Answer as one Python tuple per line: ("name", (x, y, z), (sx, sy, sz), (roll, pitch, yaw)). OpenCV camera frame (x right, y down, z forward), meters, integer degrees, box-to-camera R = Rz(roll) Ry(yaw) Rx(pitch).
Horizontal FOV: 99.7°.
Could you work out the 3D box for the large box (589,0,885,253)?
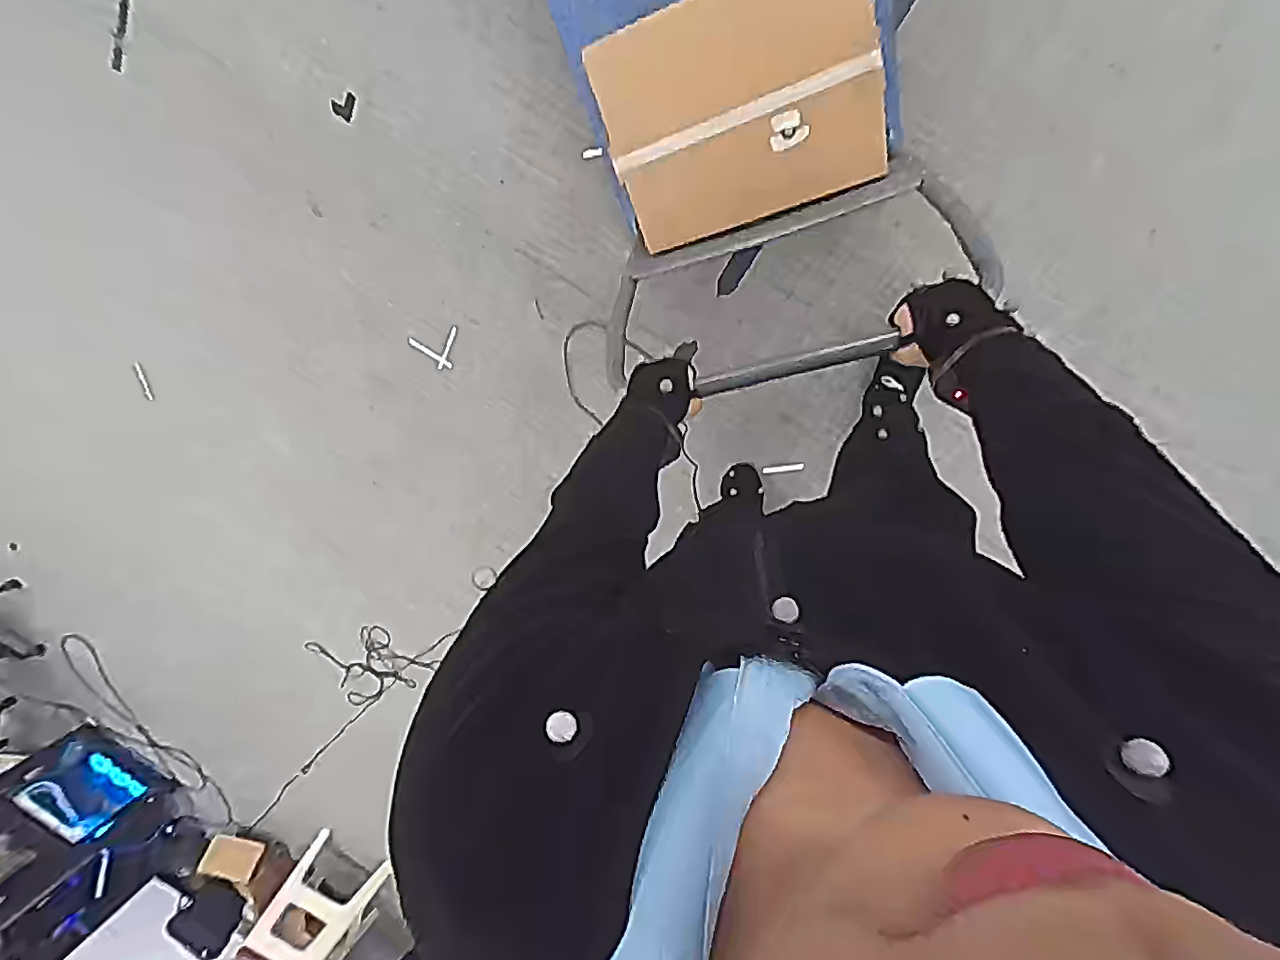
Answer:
("large box", (0.171, -0.664, 0.961), (0.408, 0.320, 0.320), (-13, 126, 18))
